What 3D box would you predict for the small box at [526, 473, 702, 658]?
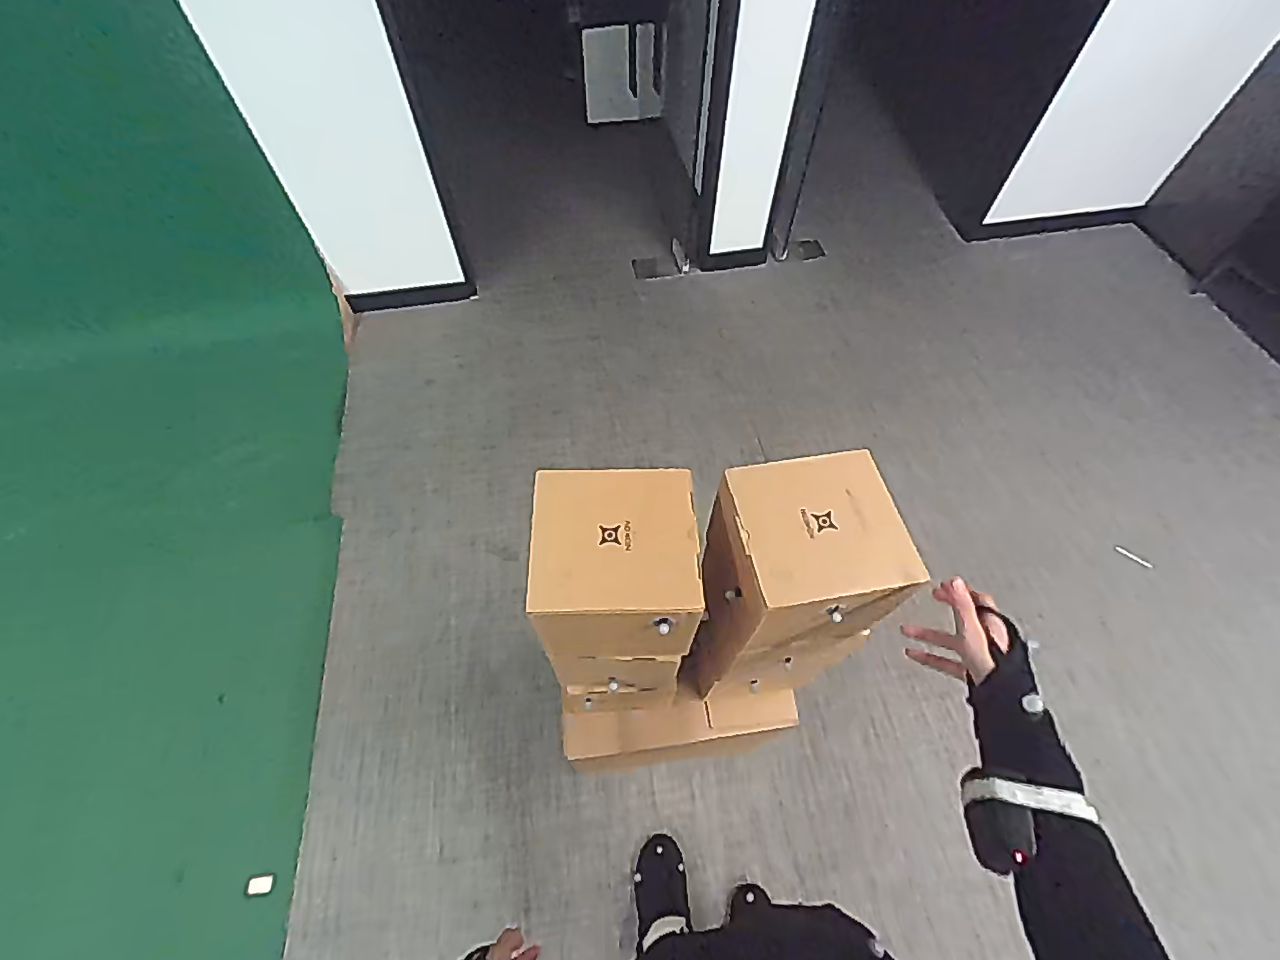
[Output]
[{"bbox_3d":[-0.028,0.106,0.634,0.179,0.176,0.168,-1,58,-3],"label":"small box"}]
